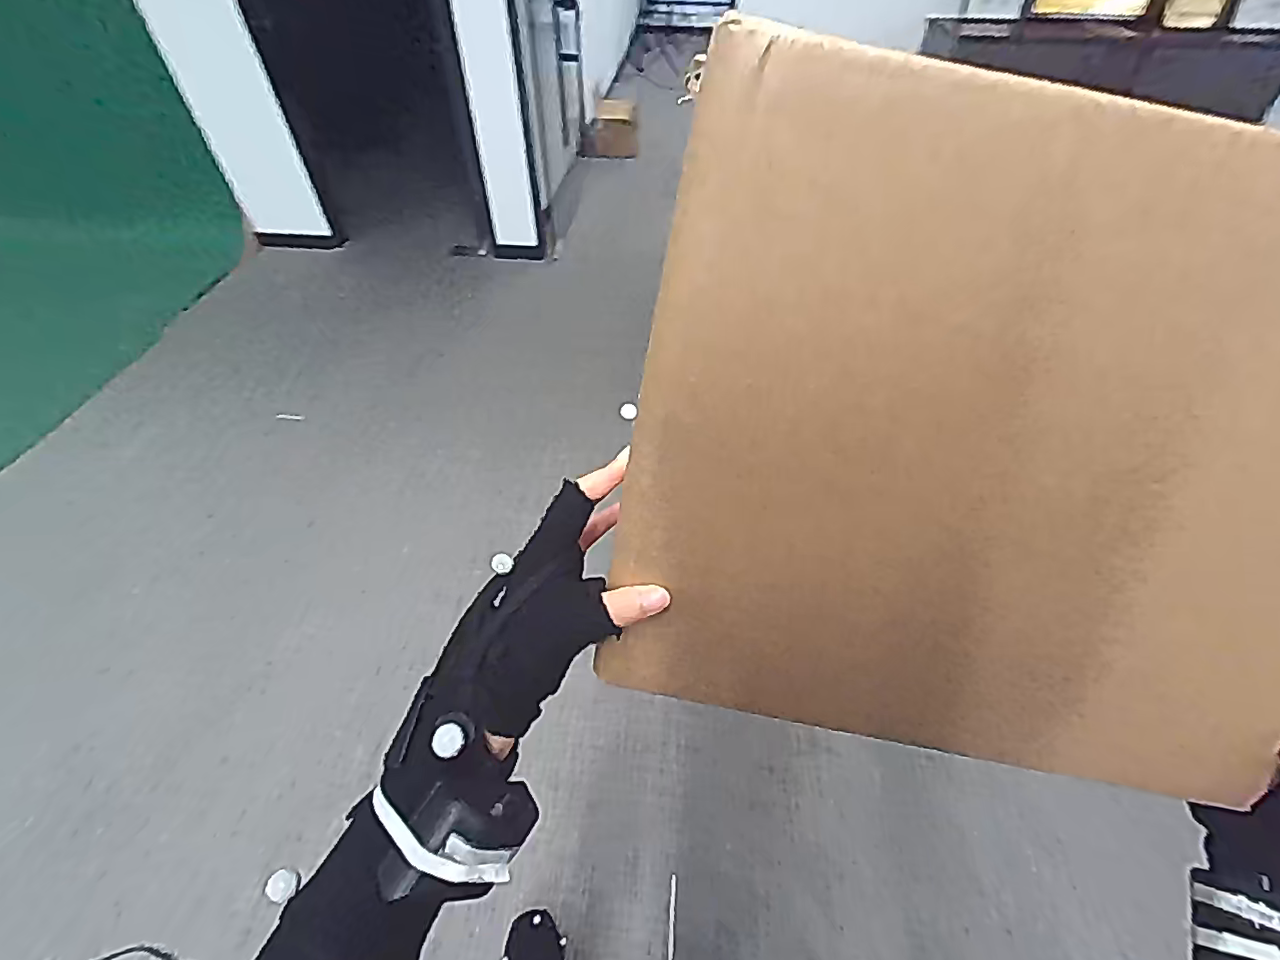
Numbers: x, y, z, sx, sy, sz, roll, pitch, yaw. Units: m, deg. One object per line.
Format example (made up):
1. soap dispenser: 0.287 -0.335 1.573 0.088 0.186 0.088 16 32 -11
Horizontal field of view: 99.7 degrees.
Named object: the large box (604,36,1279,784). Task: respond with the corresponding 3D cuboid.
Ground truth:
1. large box: 0.206 -0.046 0.373 0.408 0.320 0.320 12 34 -2
